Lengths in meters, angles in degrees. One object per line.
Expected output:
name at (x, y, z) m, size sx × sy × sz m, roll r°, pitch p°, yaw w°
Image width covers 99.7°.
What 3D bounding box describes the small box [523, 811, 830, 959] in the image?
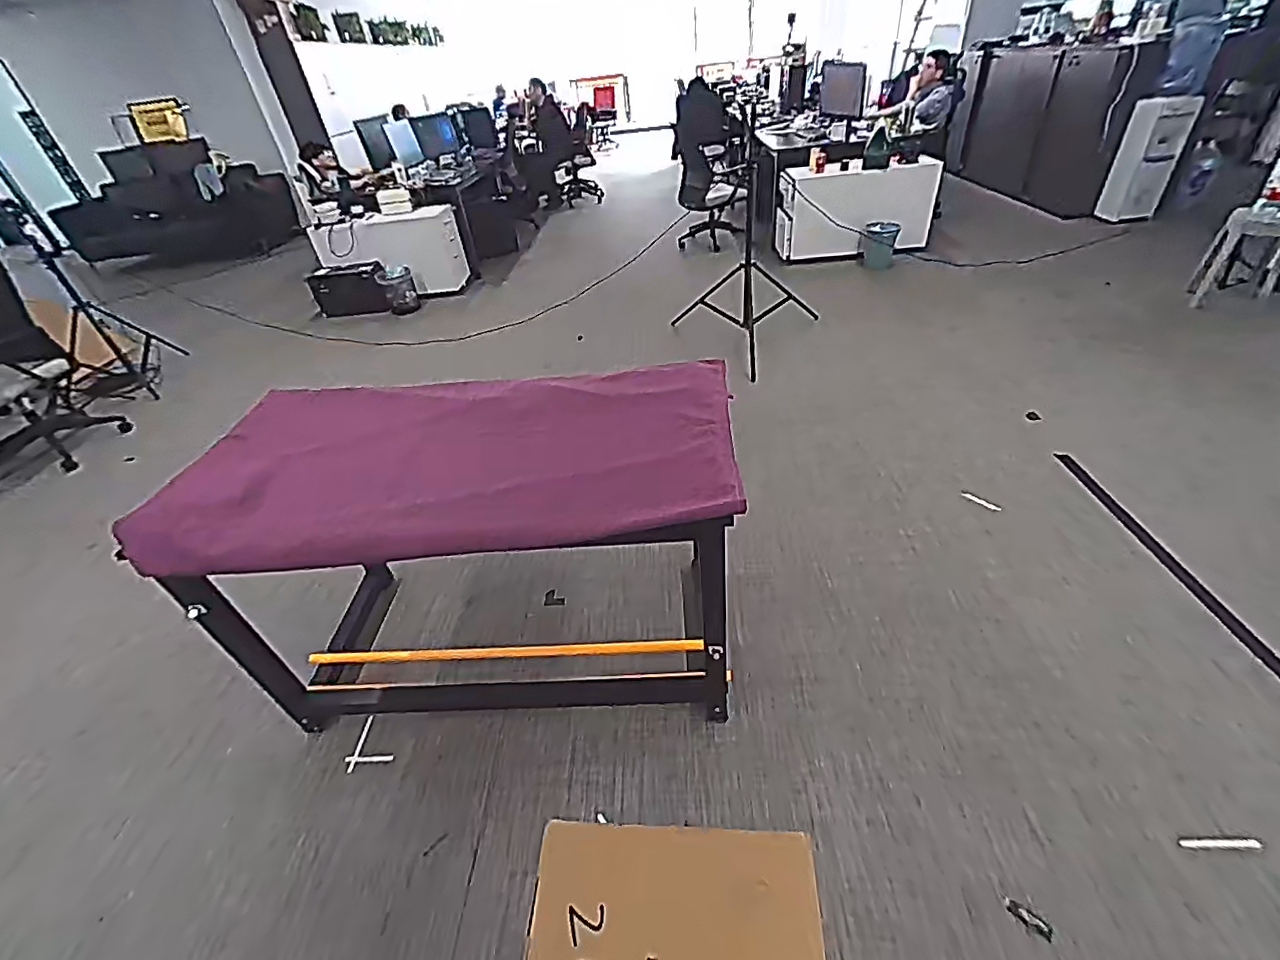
small box at (0.028, 0.334, 0.354) m, size 0.179 × 0.176 × 0.168 m, roll -3°, pitch 46°, yaw 9°
